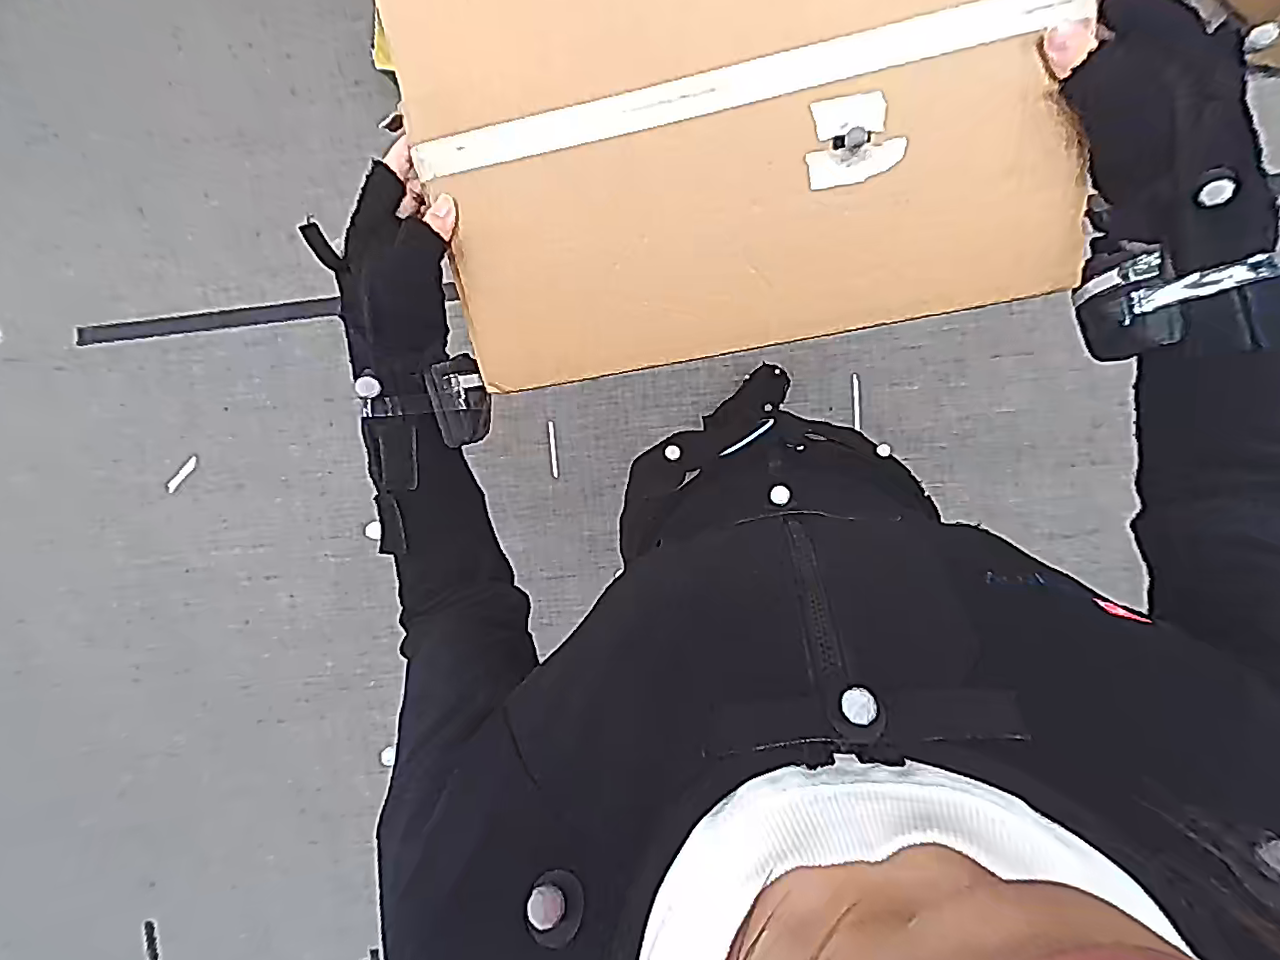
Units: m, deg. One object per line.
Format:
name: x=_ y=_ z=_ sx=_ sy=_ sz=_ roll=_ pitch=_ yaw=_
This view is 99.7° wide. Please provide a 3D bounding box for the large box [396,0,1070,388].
large box: x=0.067 y=-0.291 z=0.484 sx=0.408 sy=0.320 sz=0.320 roll=-10 pitch=108 yaw=6
